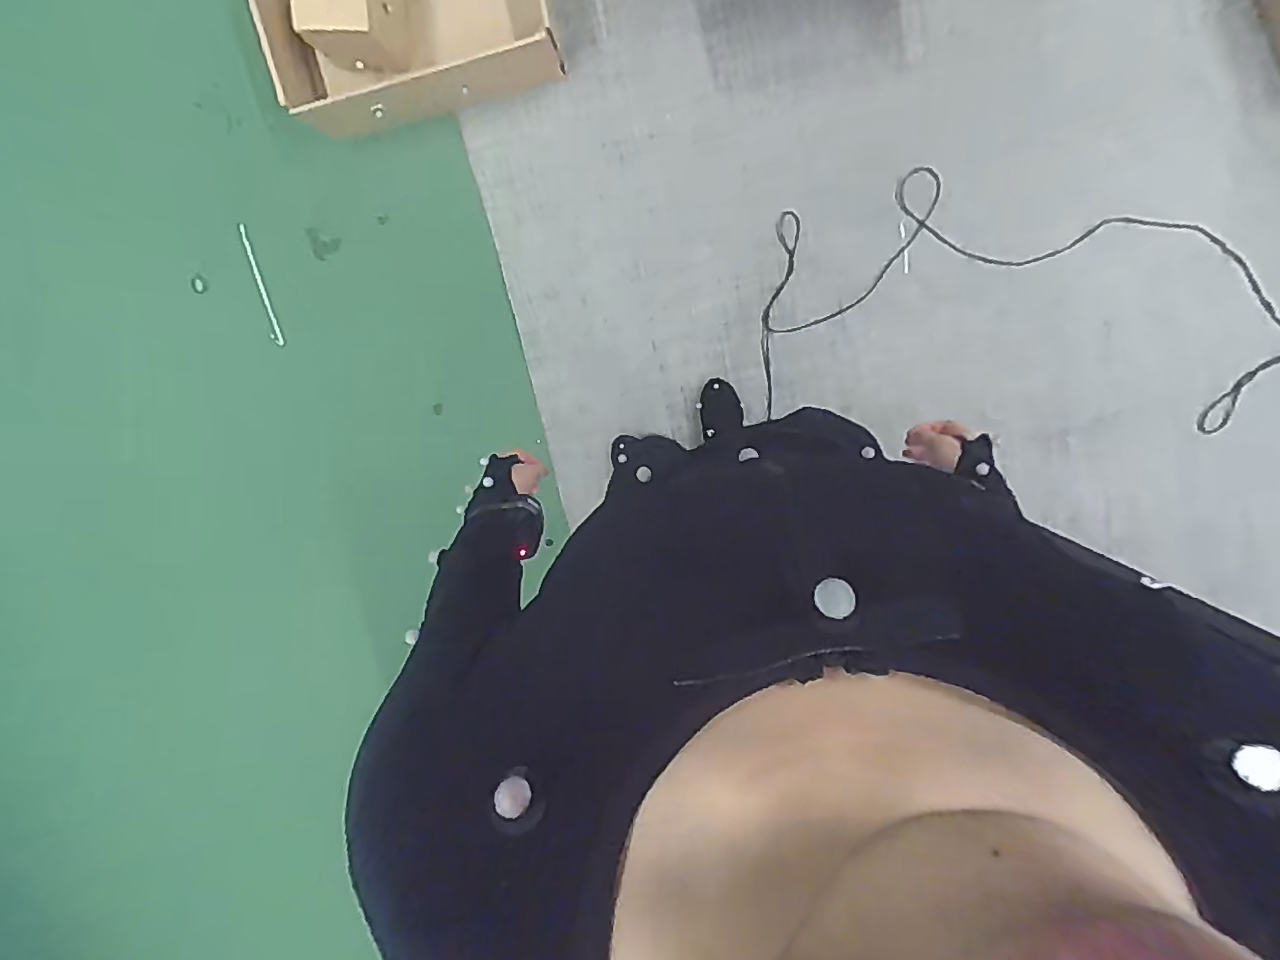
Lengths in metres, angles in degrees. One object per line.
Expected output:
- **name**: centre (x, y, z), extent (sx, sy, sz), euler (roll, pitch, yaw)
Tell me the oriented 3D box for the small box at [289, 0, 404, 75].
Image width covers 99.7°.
- **small box**: centre (-0.631, -1.027, 1.177), extent (0.168, 0.176, 0.179), euler (4, 102, 3)
